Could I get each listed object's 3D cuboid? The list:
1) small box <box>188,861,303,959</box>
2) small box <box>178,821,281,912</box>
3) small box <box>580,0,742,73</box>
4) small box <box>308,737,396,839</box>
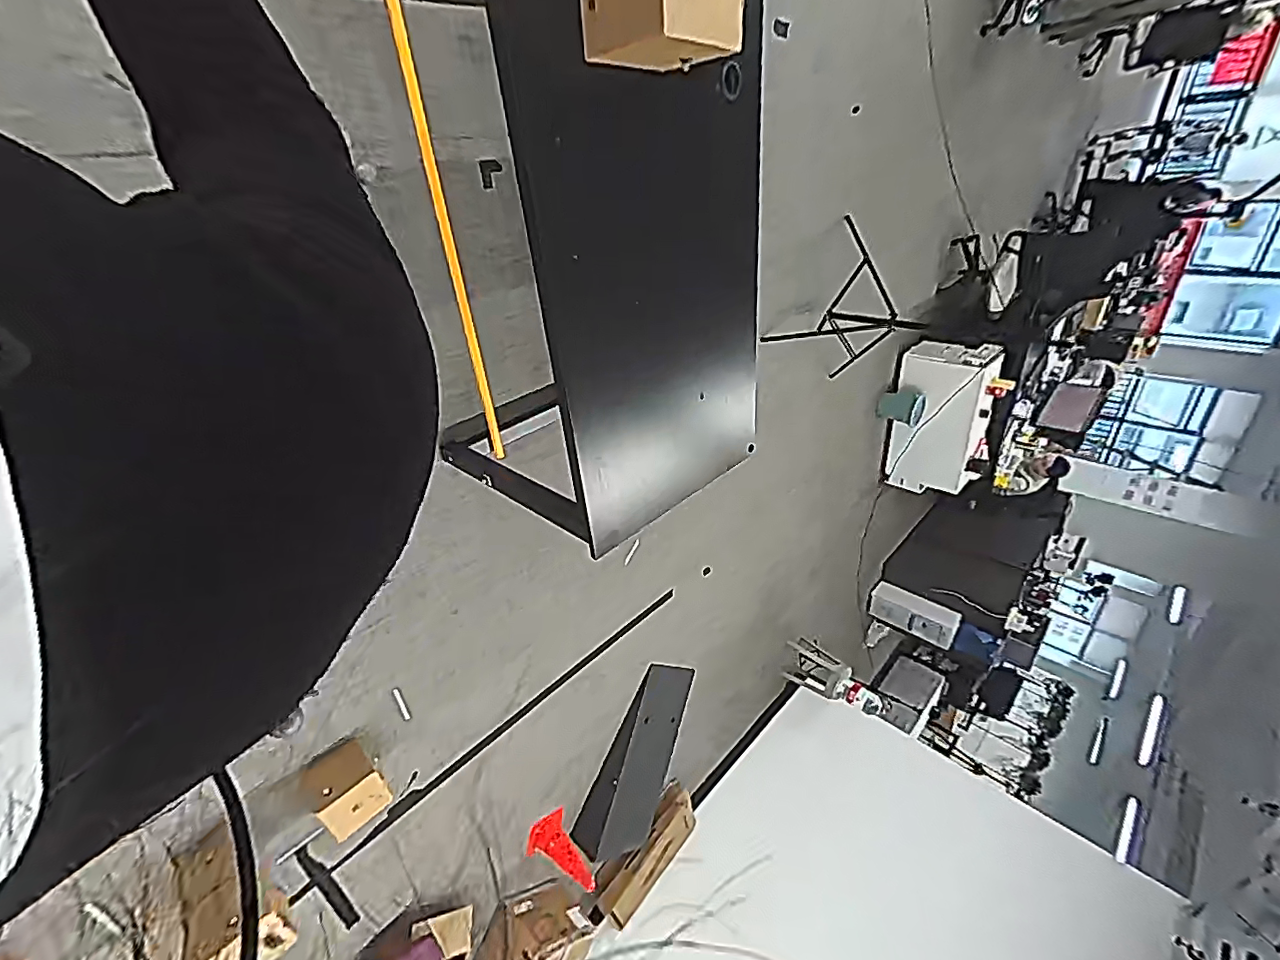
[{"bbox_3d":[-1.009,1.136,1.384,0.179,0.176,0.168,-30,128,-35],"label":"small box"},{"bbox_3d":[-1.129,1.086,1.488,0.168,0.176,0.179,-28,126,-36],"label":"small box"},{"bbox_3d":[0.031,-0.705,0.779,0.179,0.176,0.168,-28,126,-36],"label":"small box"},{"bbox_3d":[-0.896,0.947,1.673,0.179,0.176,0.168,-33,130,-34],"label":"small box"}]
